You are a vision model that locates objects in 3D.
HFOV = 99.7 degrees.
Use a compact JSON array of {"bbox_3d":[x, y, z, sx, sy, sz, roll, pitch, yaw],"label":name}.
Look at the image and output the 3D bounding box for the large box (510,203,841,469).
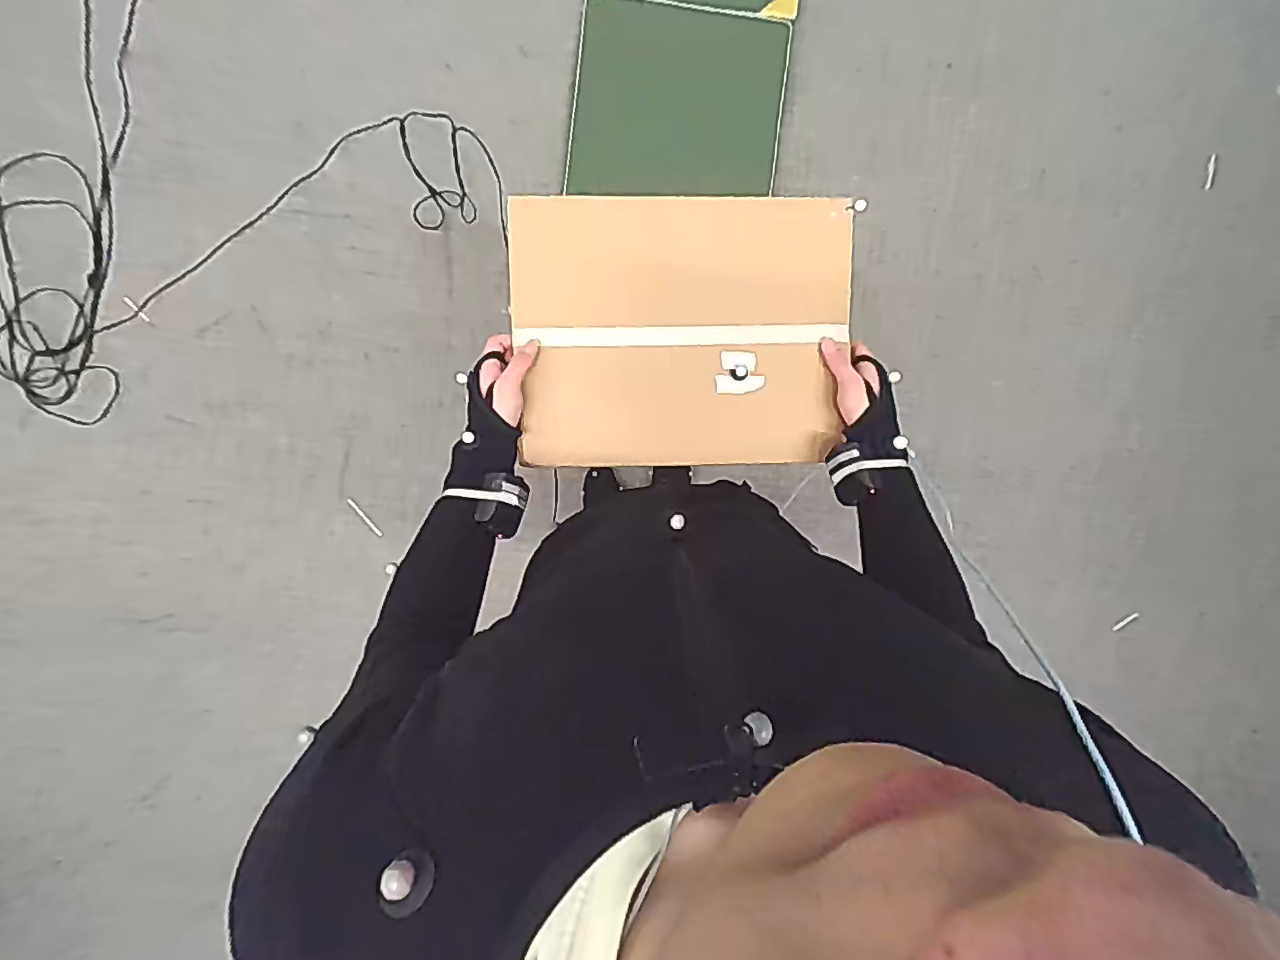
[{"bbox_3d":[0.040,-0.193,0.807,0.408,0.320,0.320,-2,98,-3],"label":"large box"}]
